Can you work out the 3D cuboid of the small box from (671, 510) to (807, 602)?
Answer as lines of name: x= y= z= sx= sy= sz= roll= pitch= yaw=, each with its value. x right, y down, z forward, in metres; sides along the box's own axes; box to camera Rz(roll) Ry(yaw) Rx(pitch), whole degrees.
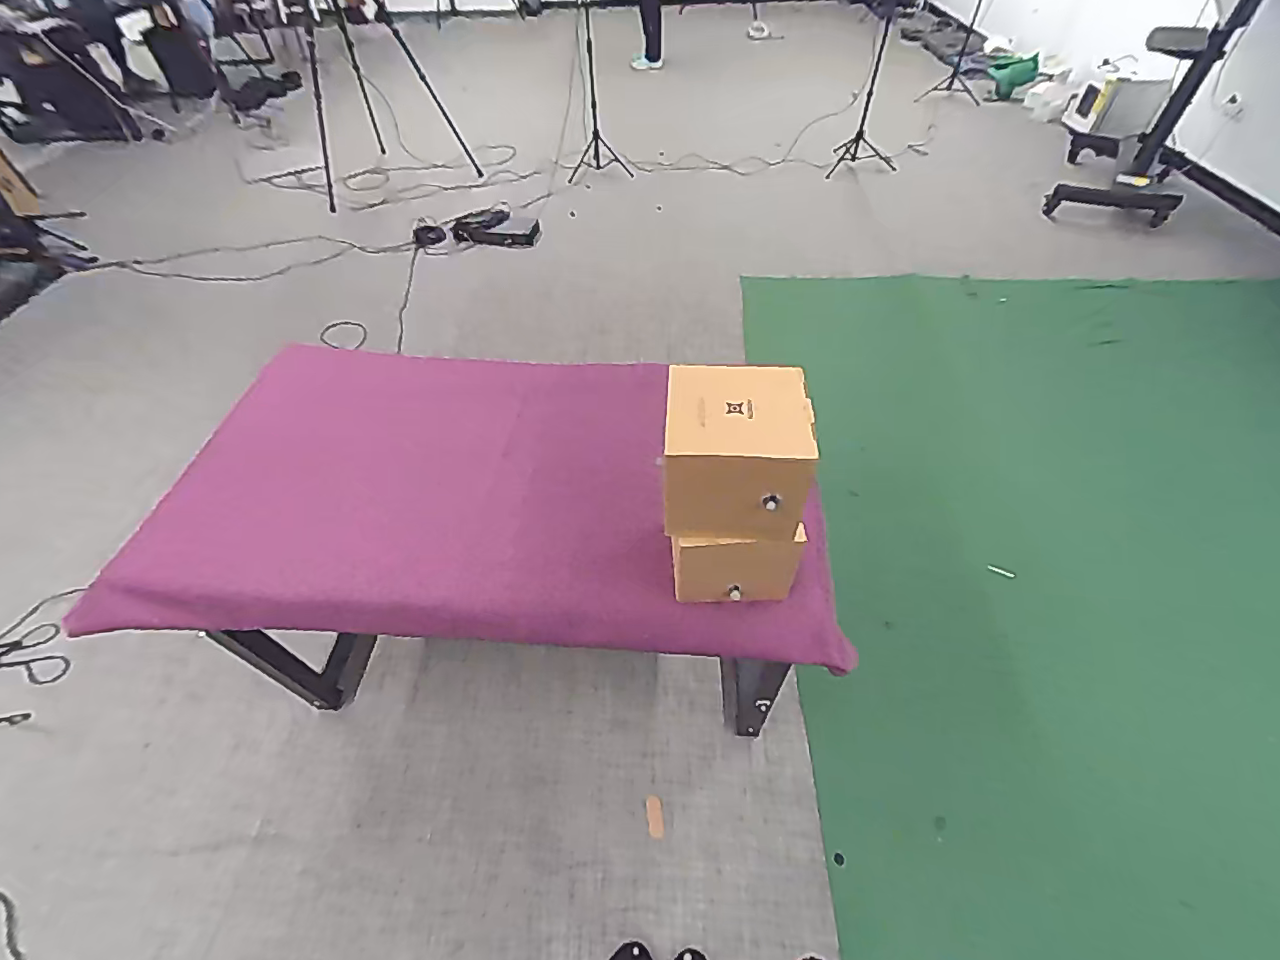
small box: x=0.140 y=0.078 z=0.837 sx=0.179 sy=0.176 sz=0.168 roll=-2 pitch=49 yaw=1

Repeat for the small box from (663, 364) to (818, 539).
small box: x=0.123 y=-0.034 z=0.719 sx=0.179 sy=0.176 sz=0.168 roll=2 pitch=50 yaw=5
